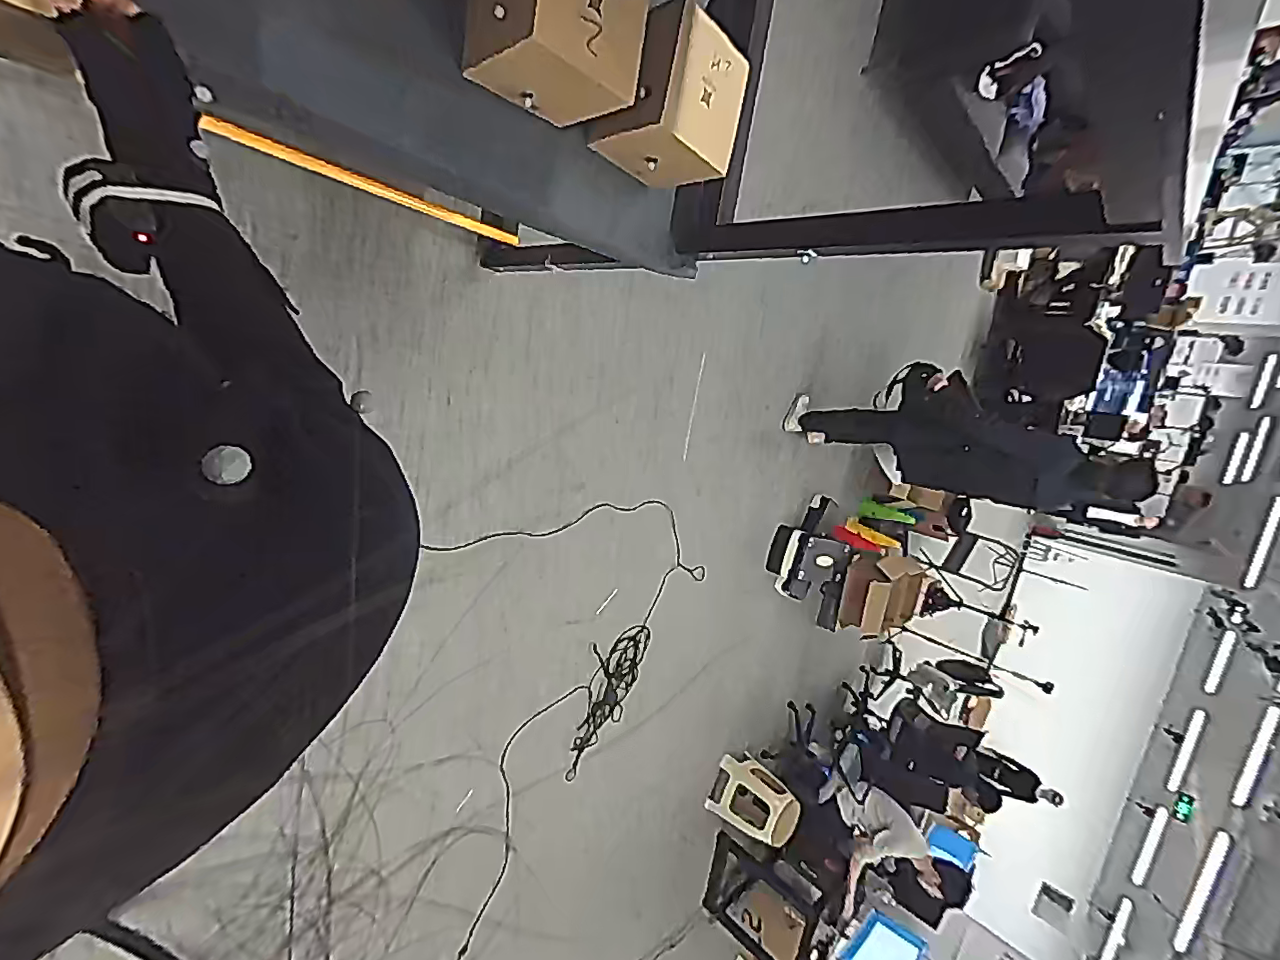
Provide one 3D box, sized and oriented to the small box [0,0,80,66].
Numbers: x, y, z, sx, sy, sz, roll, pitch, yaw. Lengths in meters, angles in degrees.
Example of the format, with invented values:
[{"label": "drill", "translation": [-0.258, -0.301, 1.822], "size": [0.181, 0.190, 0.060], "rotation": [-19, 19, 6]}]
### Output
[{"label": "small box", "translation": [-0.496, -0.425, 0.358], "size": [0.168, 0.176, 0.179], "rotation": [-4, 109, -46]}]
